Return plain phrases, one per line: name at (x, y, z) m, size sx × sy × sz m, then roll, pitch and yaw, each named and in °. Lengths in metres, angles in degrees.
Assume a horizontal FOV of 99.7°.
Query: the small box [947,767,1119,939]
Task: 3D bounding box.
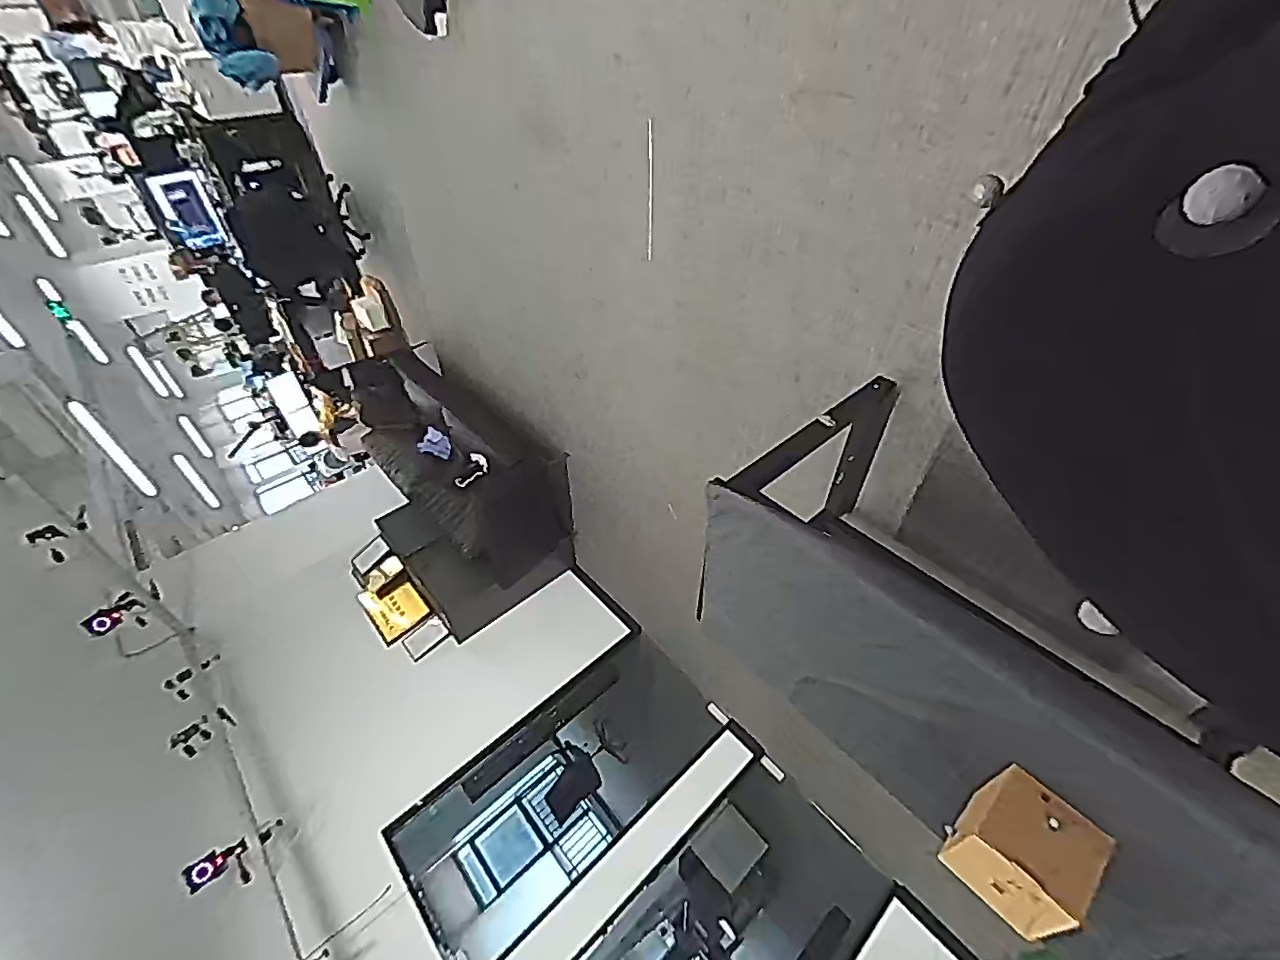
small box at (0.692, 0.654, 0.956) m, size 0.168 × 0.176 × 0.179 m, roll 37°, pitch 145°, yaw 33°
